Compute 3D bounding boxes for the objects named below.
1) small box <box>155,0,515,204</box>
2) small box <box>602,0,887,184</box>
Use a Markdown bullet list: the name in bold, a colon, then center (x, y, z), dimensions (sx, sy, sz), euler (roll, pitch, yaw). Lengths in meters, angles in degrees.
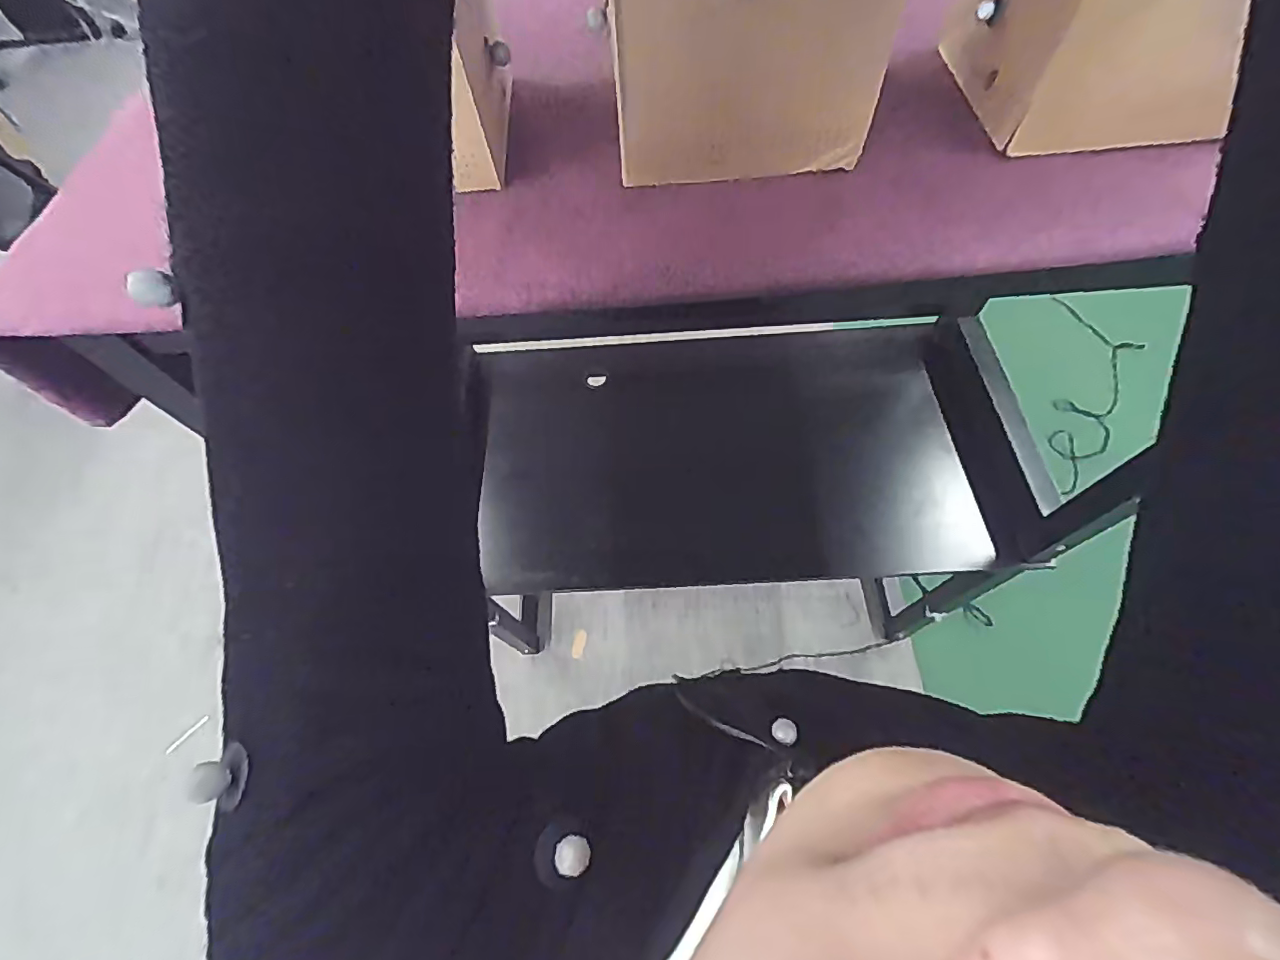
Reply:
- **small box**: center (-0.203, -0.327, 0.391), dimensions (0.179, 0.176, 0.168), euler (-5, 63, 2)
- **small box**: center (0.064, -0.332, 0.374), dimensions (0.179, 0.176, 0.168), euler (-3, 62, 3)
